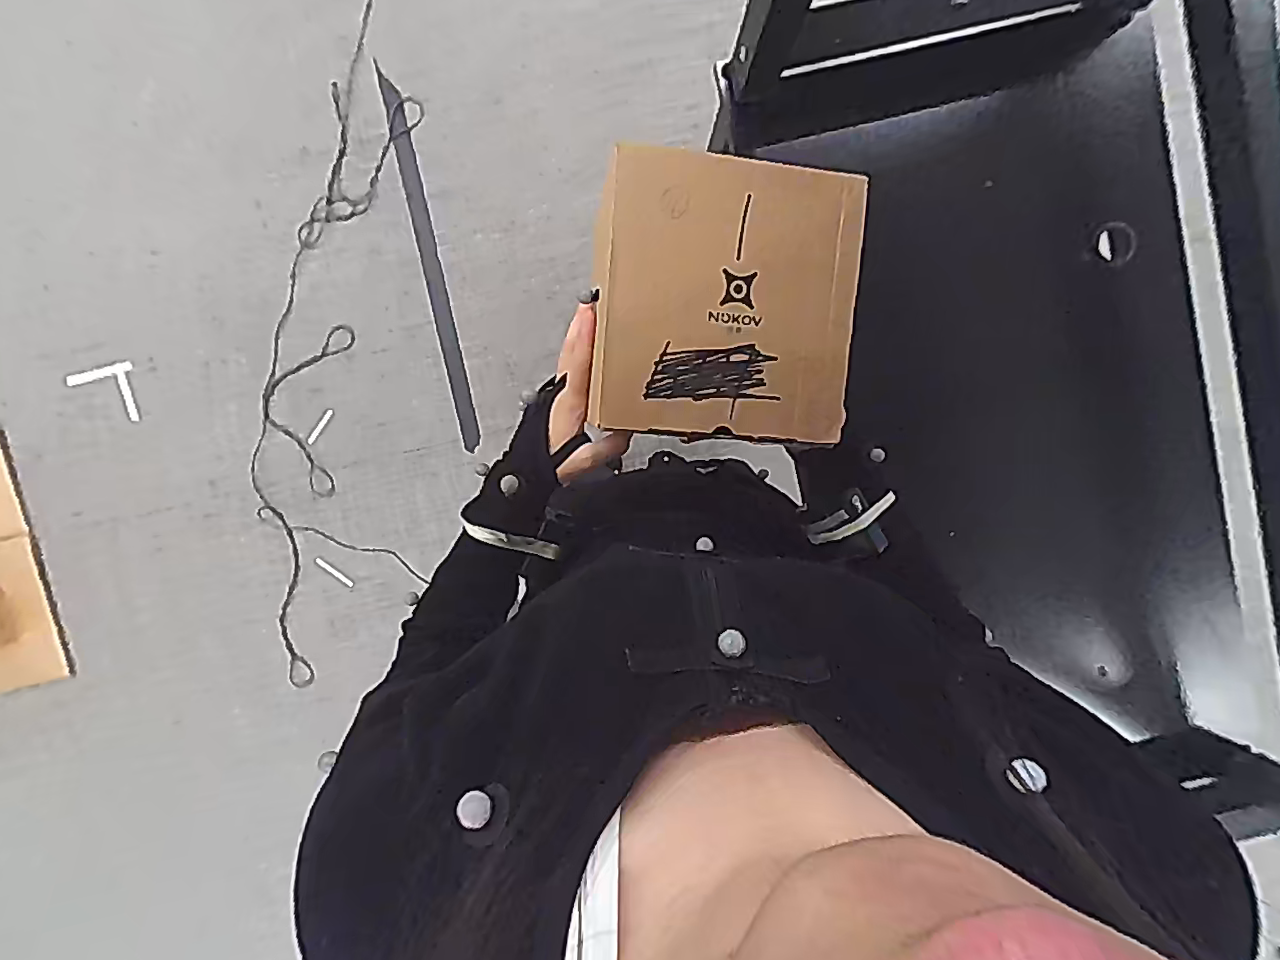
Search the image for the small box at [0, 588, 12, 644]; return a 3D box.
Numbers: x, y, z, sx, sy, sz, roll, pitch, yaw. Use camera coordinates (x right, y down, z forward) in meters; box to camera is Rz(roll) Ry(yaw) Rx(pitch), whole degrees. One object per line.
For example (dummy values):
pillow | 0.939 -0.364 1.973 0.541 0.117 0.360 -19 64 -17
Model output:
small box | -1.759 0.370 1.358 0.179 0.176 0.168 -15 94 0
